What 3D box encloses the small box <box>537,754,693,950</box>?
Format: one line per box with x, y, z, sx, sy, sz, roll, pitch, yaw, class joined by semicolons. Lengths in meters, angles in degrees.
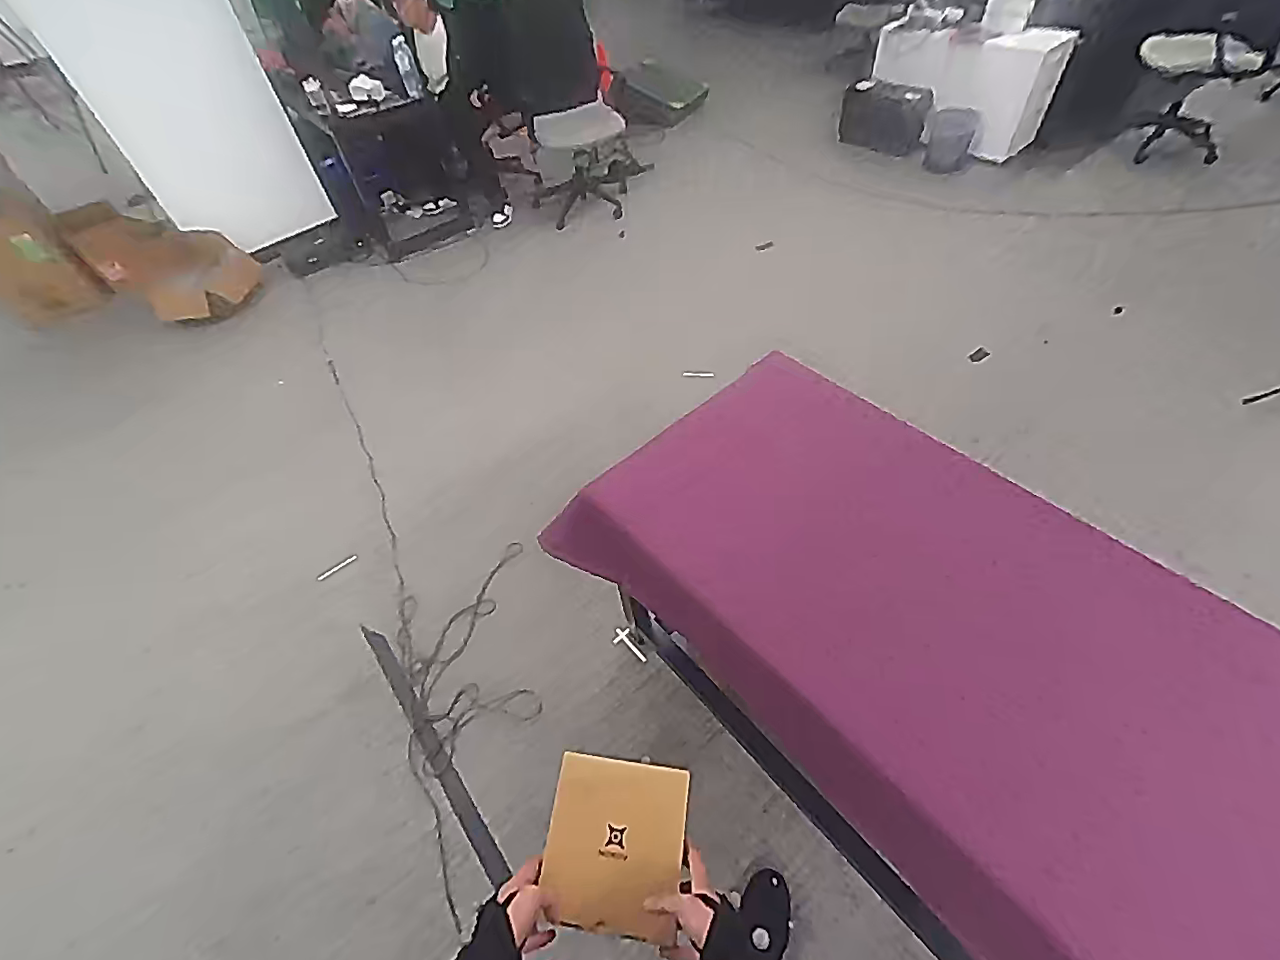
-0.024;0.479;0.716;0.168;0.176;0.179;6;59;6;small box
